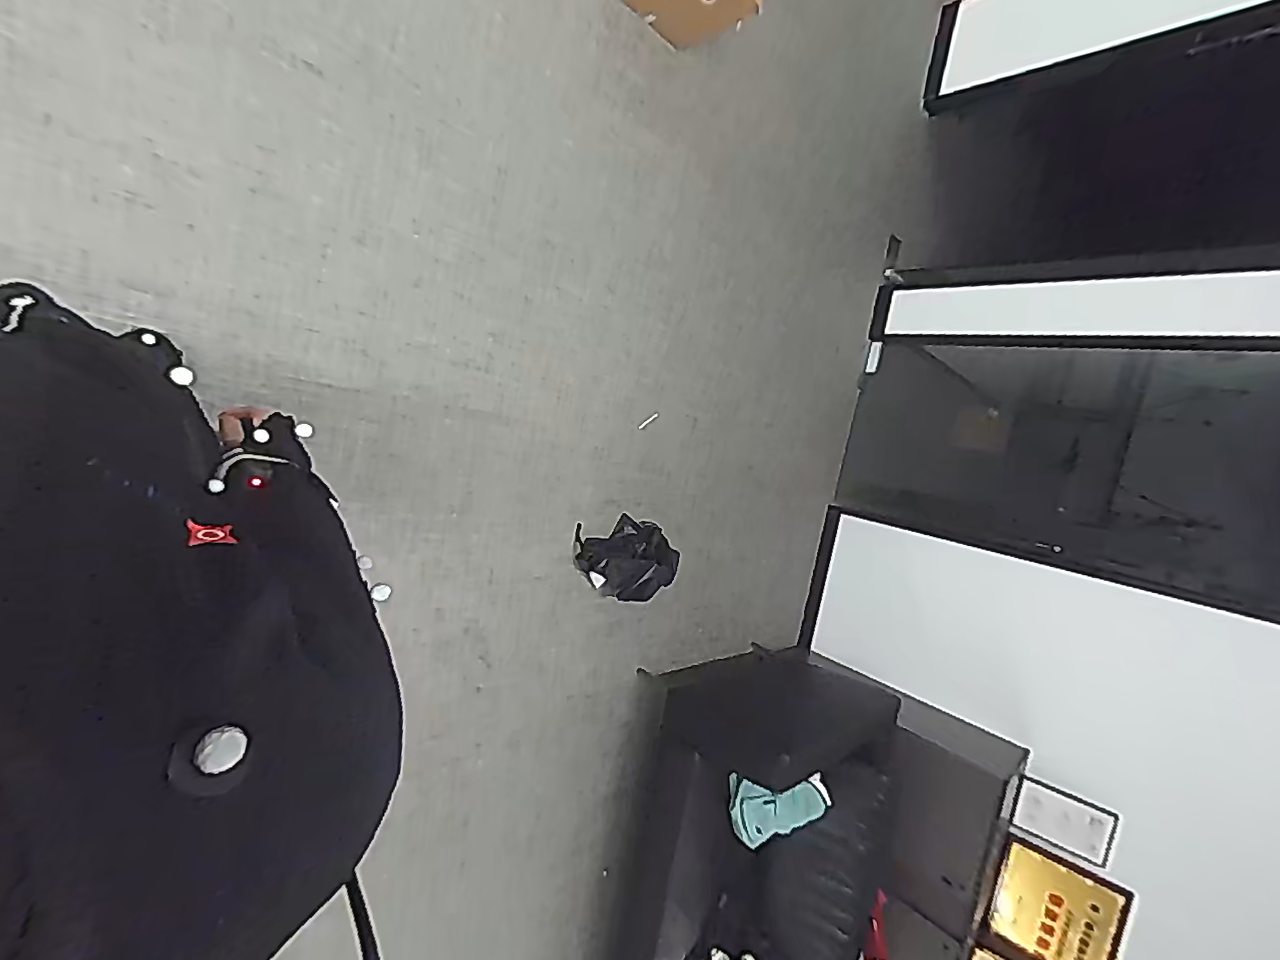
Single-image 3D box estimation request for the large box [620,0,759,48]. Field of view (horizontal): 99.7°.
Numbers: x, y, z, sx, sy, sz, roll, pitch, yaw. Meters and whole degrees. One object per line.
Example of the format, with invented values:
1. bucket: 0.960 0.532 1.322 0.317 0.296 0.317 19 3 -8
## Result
1. large box: 0.144 -1.511 1.455 0.320 0.320 0.408 3 101 -43
